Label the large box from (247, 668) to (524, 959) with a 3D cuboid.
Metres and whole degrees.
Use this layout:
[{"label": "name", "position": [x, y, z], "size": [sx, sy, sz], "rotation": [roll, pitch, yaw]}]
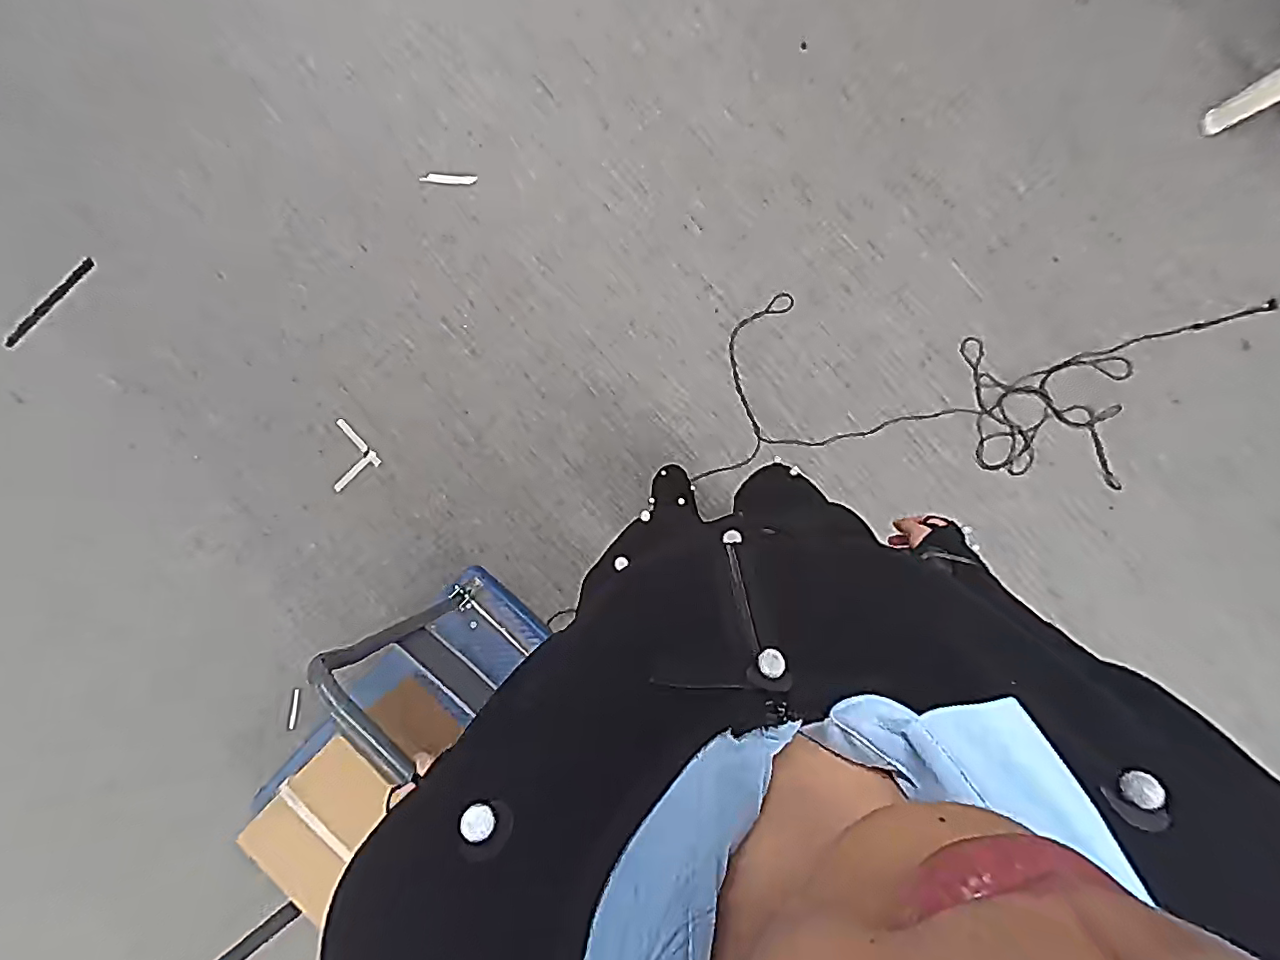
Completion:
[{"label": "large box", "position": [-0.541, 0.717, 1.226], "size": [0.408, 0.320, 0.320], "rotation": [44, 94, 1]}]
